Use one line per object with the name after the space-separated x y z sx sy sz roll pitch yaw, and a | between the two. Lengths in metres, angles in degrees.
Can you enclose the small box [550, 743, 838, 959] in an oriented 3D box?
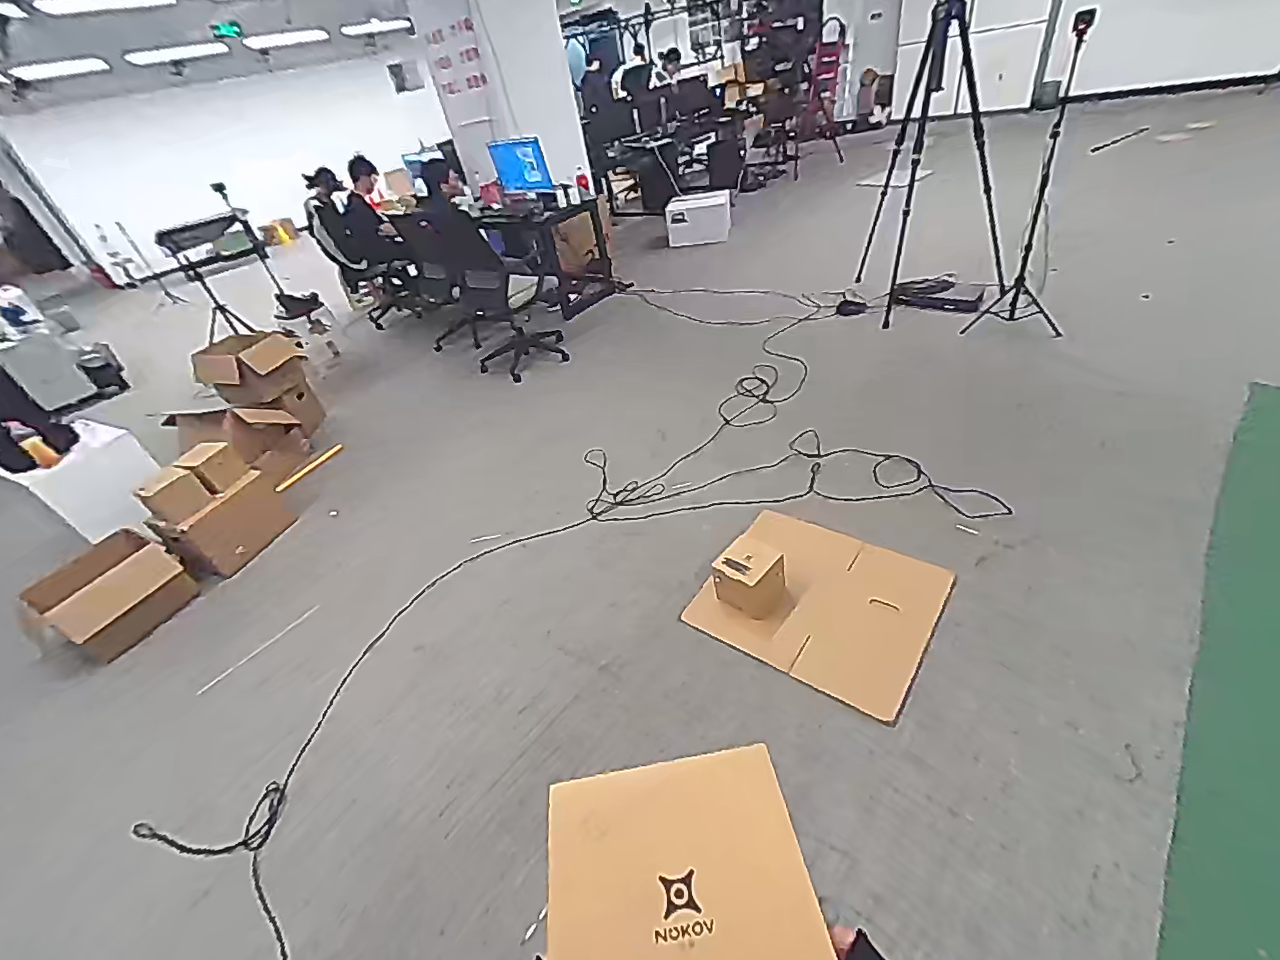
0.033 0.323 0.379 0.168 0.176 0.179 -10 35 -3 | small box
